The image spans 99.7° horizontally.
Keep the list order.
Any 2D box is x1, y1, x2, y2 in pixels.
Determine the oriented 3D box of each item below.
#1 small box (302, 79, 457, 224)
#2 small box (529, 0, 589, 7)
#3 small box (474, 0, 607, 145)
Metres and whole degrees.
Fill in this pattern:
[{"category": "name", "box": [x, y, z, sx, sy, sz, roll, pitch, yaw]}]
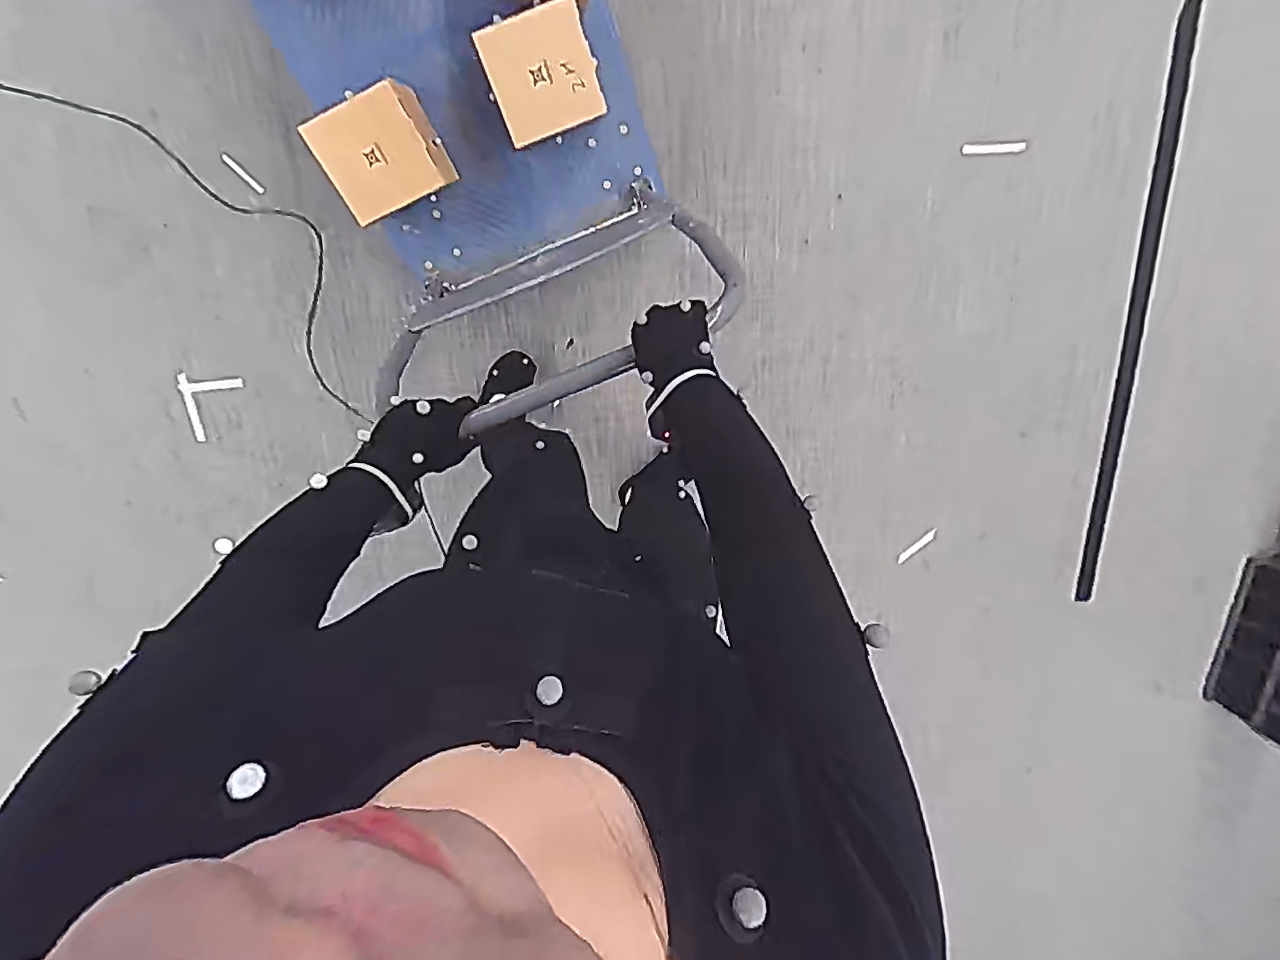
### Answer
[{"category": "small box", "box": [-0.461, -0.594, 0.990, 0.179, 0.176, 0.168, -25, 121, 5]}, {"category": "small box", "box": [-0.157, -0.887, 0.855, 0.168, 0.176, 0.179, 0, 122, -8]}, {"category": "small box", "box": [-0.169, -0.713, 0.960, 0.179, 0.176, 0.168, -19, 122, 4]}]
